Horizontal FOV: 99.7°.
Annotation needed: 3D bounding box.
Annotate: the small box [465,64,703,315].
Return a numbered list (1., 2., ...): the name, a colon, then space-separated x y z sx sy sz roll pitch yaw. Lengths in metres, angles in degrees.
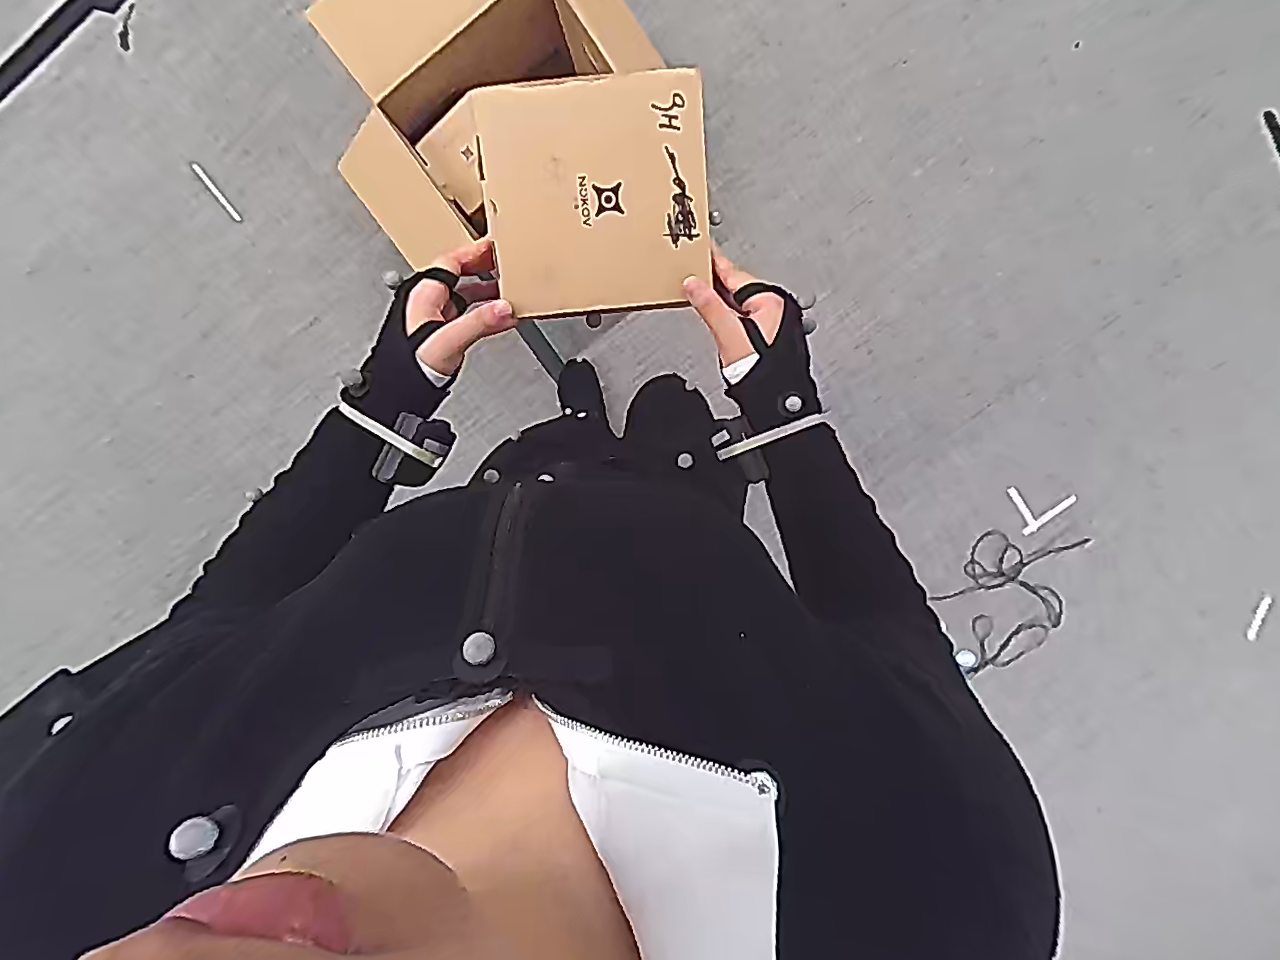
1. small box: -0.040 -0.247 0.503 0.179 0.176 0.168 -5 106 0
